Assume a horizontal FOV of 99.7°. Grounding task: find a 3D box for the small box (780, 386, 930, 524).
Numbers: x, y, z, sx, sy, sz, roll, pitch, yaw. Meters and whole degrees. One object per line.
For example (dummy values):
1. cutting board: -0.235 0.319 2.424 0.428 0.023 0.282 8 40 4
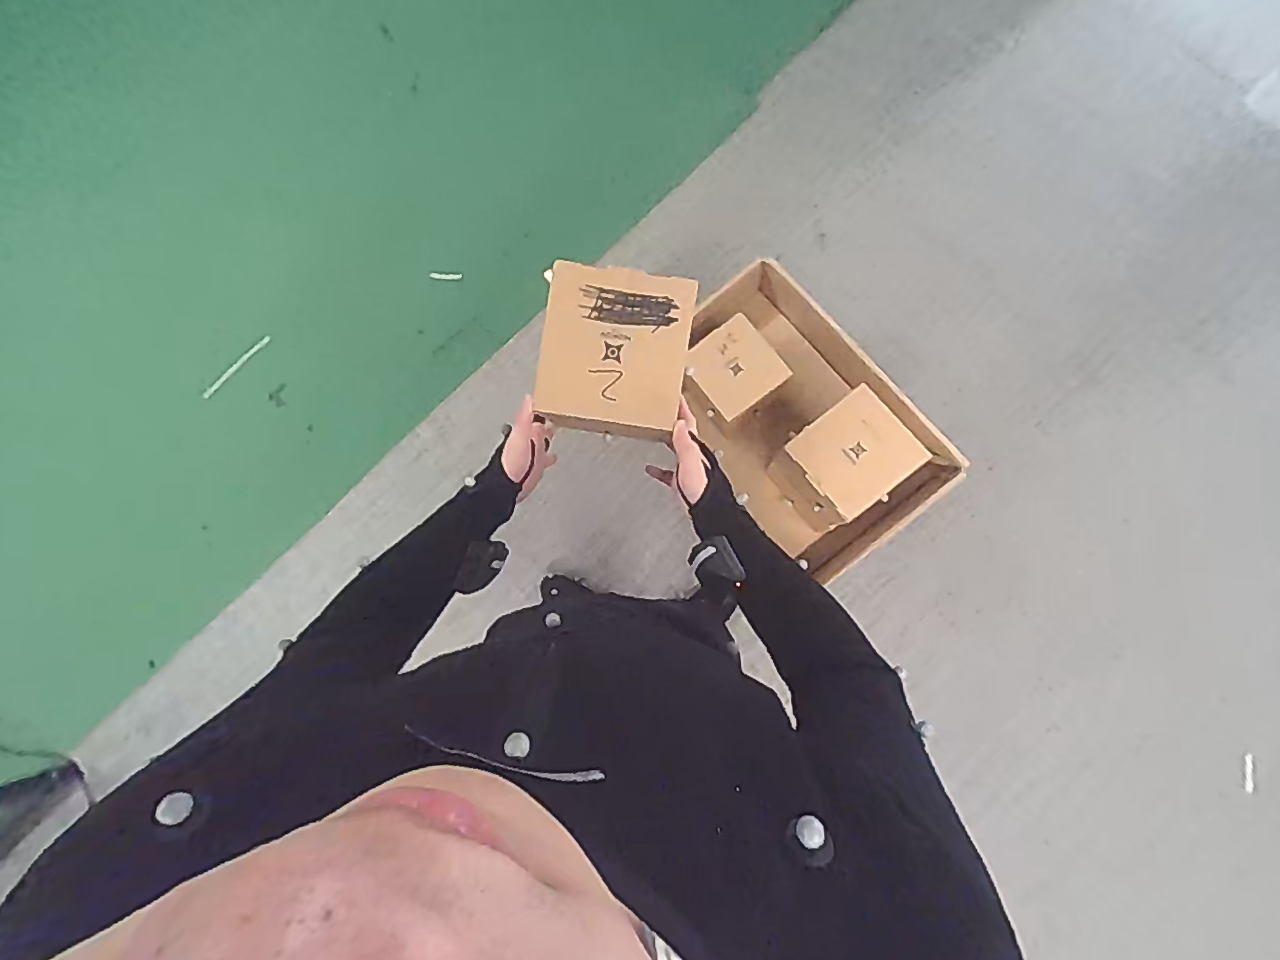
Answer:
1. small box: 0.368 -0.034 0.970 0.179 0.176 0.168 -38 80 1
